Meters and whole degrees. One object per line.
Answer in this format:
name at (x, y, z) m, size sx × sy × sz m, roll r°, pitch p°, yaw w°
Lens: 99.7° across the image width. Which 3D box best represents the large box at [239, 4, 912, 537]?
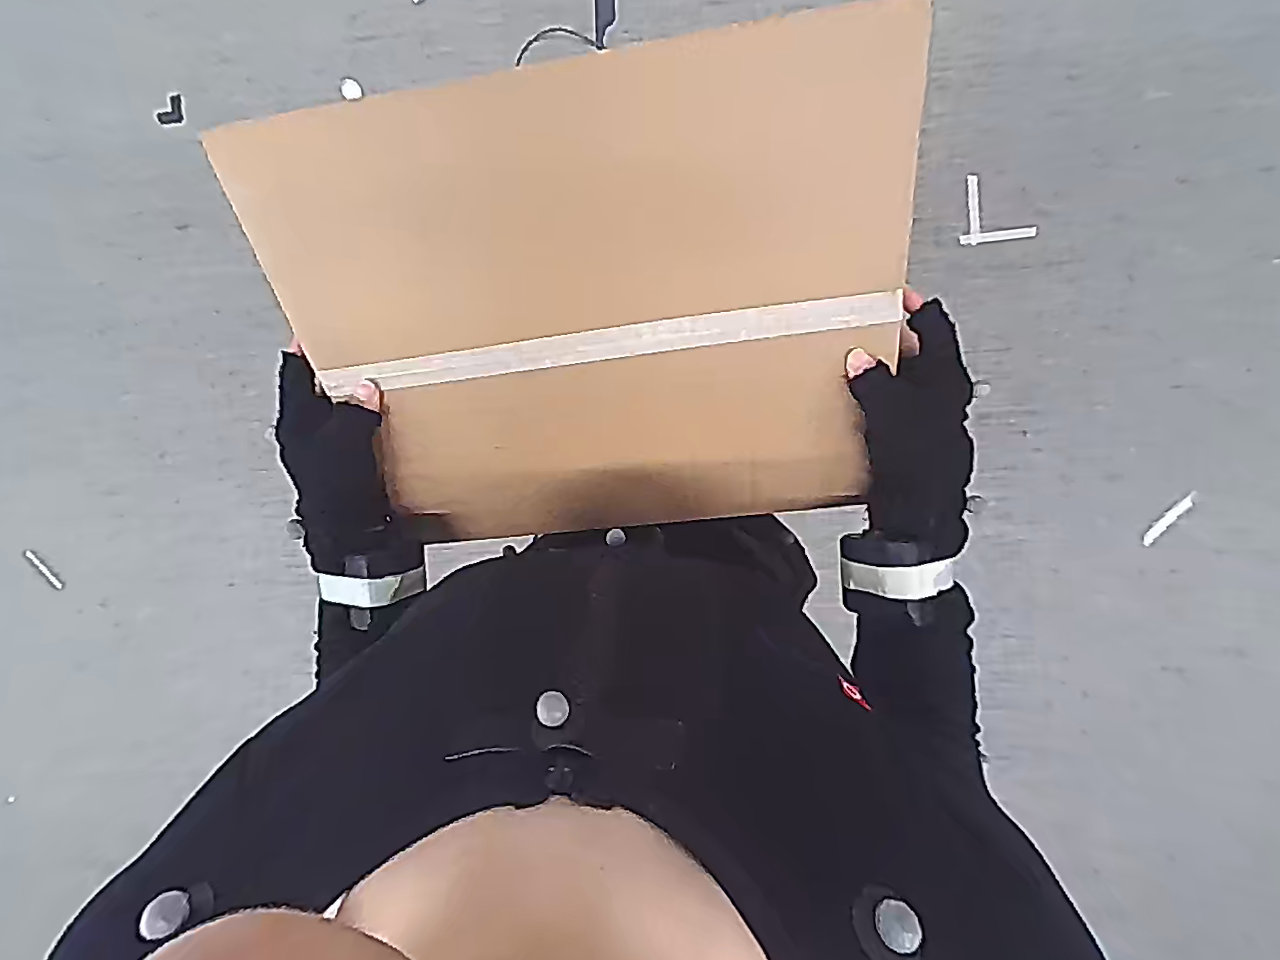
large box at (-0.025, -0.177, 0.508) m, size 0.408 × 0.320 × 0.320 m, roll -6°, pitch 123°, yaw 7°
